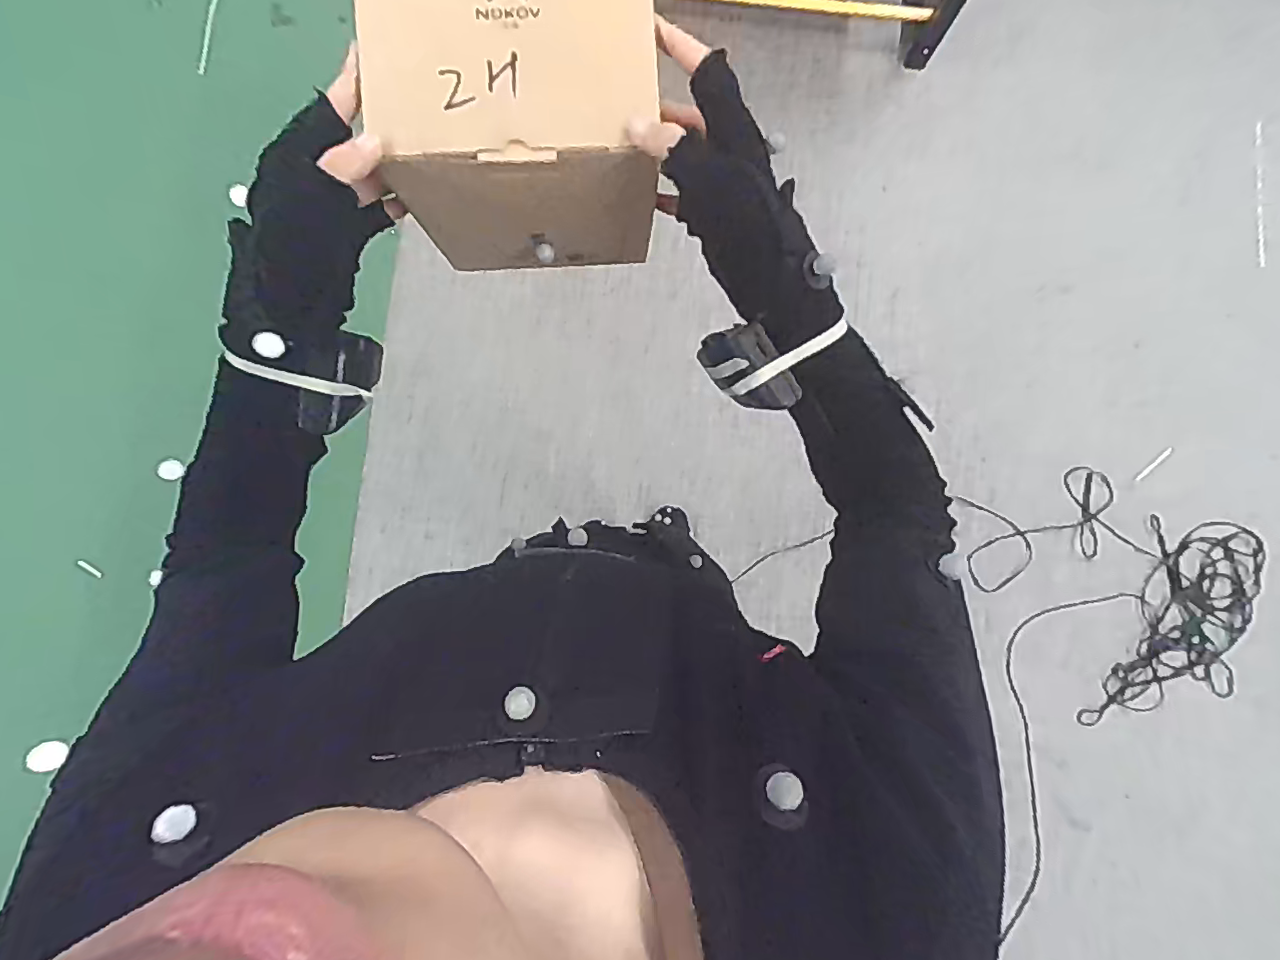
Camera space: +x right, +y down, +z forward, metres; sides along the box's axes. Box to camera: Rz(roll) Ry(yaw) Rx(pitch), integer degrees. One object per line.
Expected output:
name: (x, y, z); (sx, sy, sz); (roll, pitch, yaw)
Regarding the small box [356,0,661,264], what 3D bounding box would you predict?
small box: (-0.076, -0.272, 0.378); (0.168, 0.176, 0.179); (-3, 89, -2)
